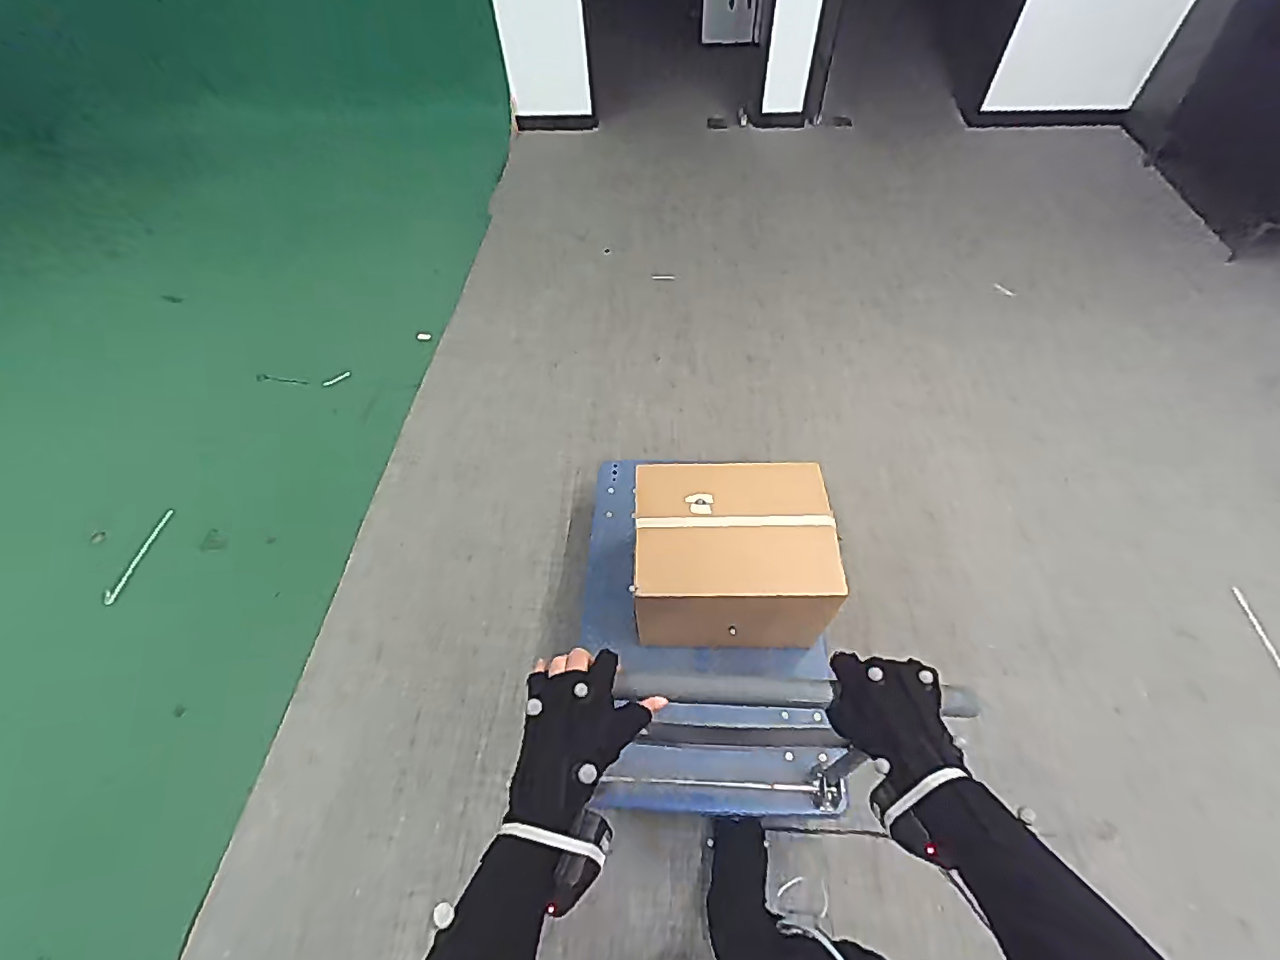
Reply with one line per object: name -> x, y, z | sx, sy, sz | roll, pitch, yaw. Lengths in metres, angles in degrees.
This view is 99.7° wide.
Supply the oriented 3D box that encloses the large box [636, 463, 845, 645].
large box -> 0.203, 0.180, 1.244 | 0.408, 0.320, 0.320 | -2, 55, 3
